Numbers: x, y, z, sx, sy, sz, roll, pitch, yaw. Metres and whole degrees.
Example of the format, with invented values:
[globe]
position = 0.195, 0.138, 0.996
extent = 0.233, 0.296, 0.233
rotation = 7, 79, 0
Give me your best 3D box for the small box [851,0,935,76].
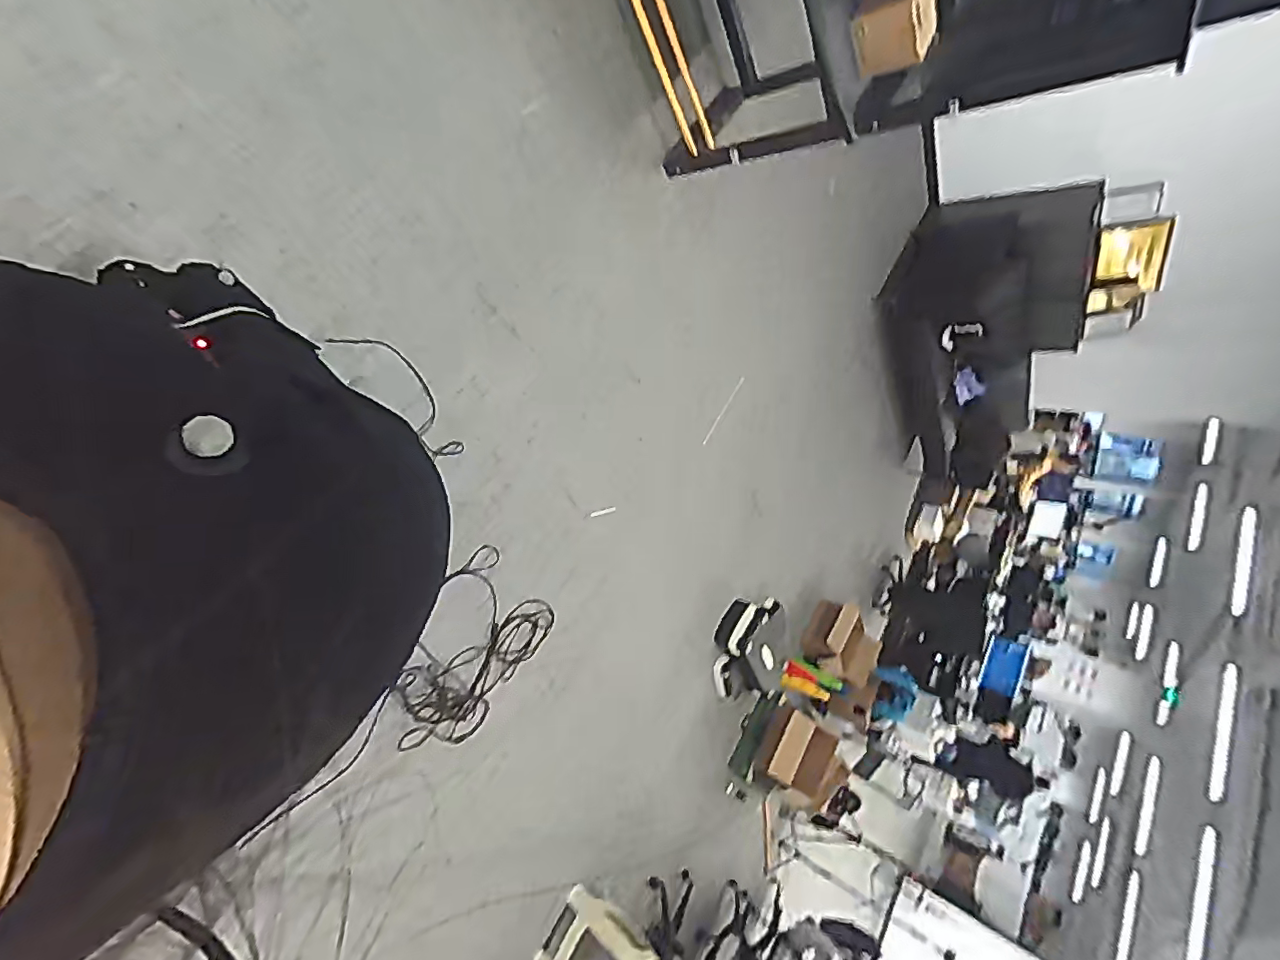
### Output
[small box]
position = 0.717, -1.302, 1.538
extent = 0.168, 0.176, 0.179
rotation = 45, 65, -45
